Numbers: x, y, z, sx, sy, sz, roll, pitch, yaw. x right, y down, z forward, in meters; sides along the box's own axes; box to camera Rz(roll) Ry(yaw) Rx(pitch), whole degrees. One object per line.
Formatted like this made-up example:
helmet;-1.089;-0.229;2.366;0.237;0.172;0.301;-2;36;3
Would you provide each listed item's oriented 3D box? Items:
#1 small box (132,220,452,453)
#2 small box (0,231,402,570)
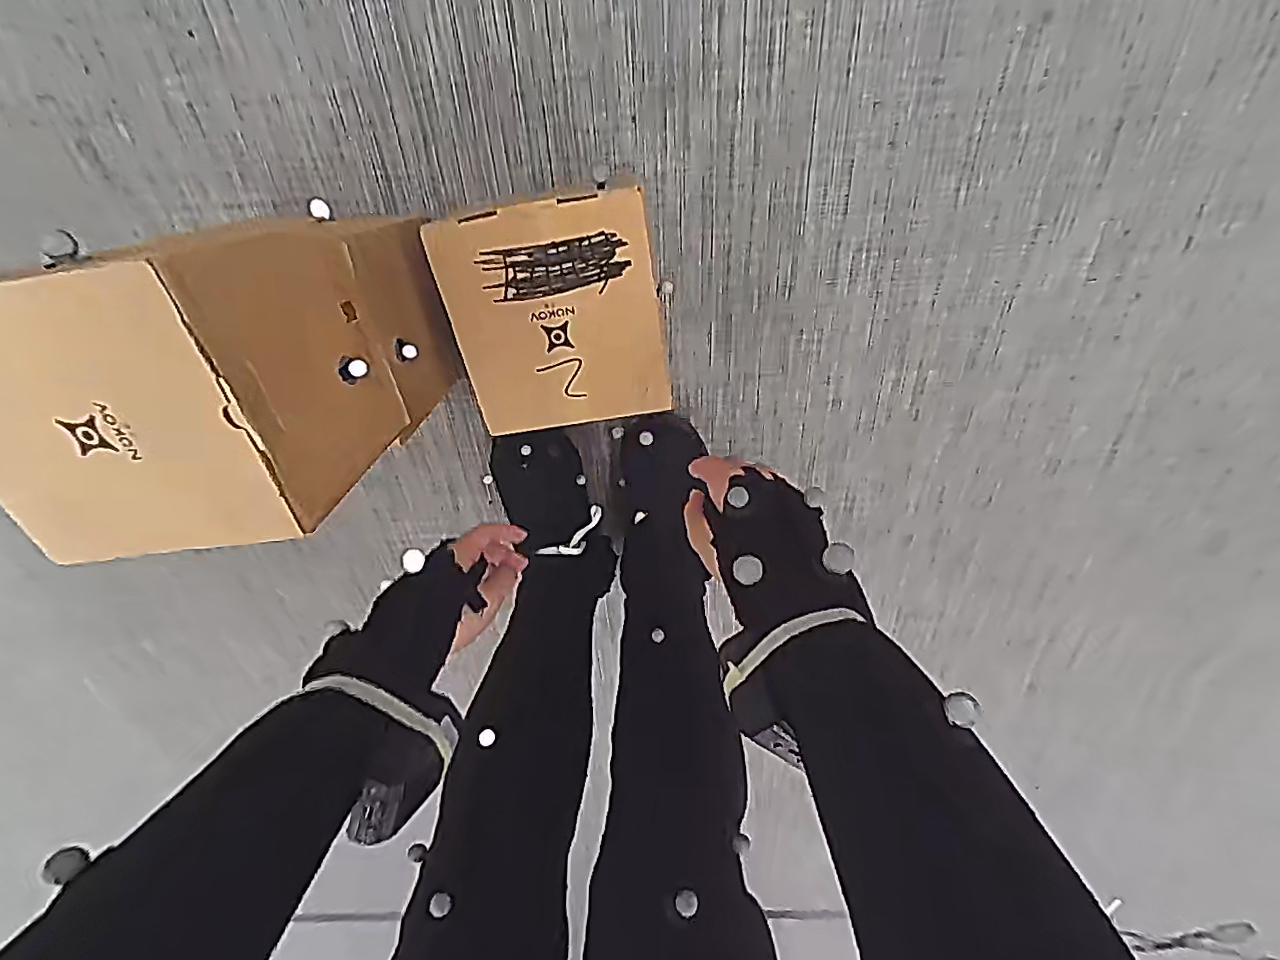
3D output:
small box;-0.294;-0.140;0.510;0.168;0.176;0.179;-1;121;1
small box;-0.298;-0.062;0.367;0.179;0.176;0.168;-7;121;4
